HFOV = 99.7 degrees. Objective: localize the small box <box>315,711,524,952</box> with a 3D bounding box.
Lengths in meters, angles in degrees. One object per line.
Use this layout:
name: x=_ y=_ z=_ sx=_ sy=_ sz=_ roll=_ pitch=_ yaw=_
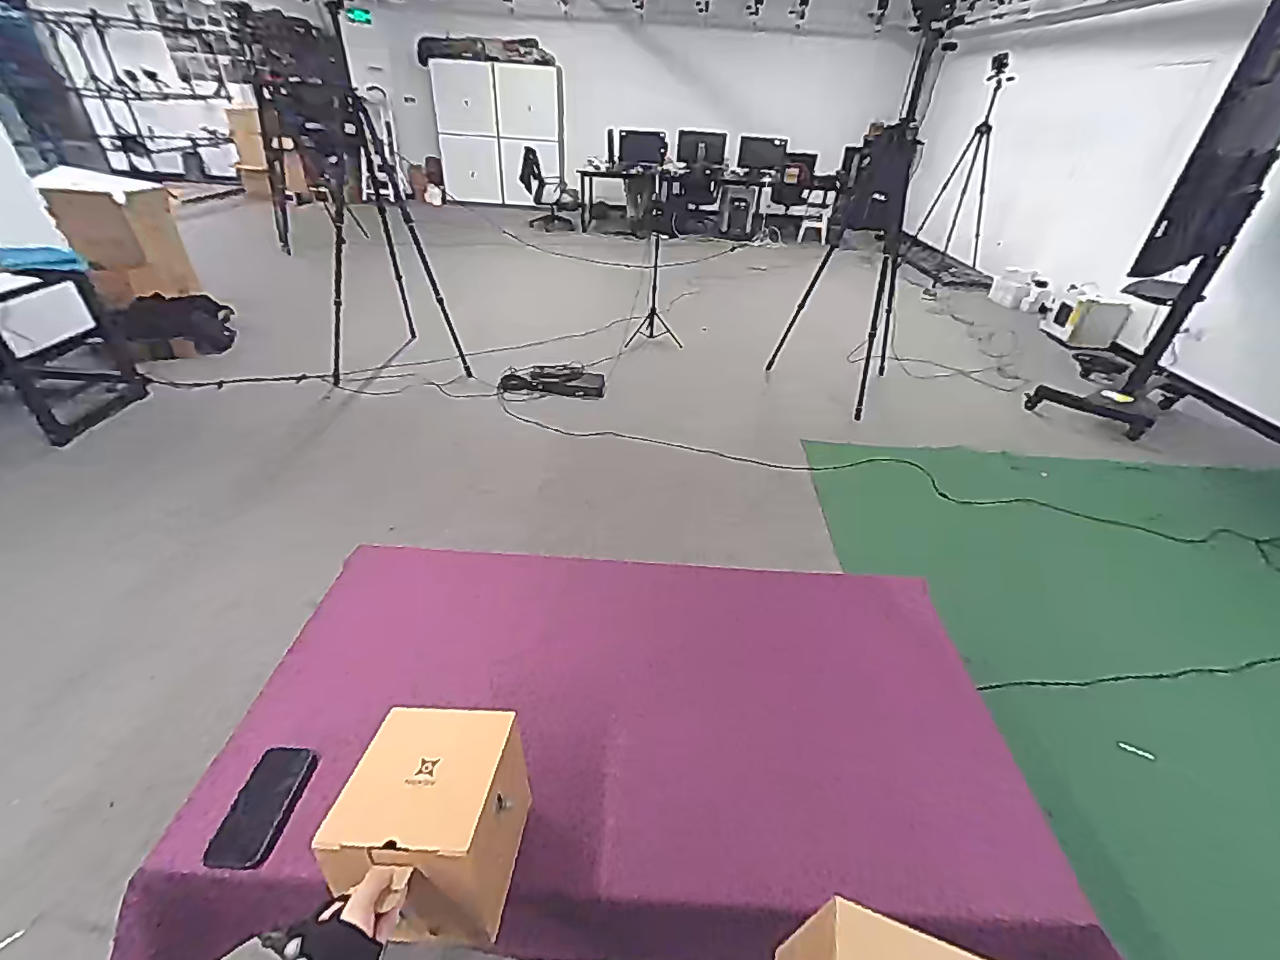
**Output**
small box: x=-0.242 y=0.409 z=0.646 sx=0.168 sy=0.176 sz=0.179 roll=1 pitch=25 yaw=4
